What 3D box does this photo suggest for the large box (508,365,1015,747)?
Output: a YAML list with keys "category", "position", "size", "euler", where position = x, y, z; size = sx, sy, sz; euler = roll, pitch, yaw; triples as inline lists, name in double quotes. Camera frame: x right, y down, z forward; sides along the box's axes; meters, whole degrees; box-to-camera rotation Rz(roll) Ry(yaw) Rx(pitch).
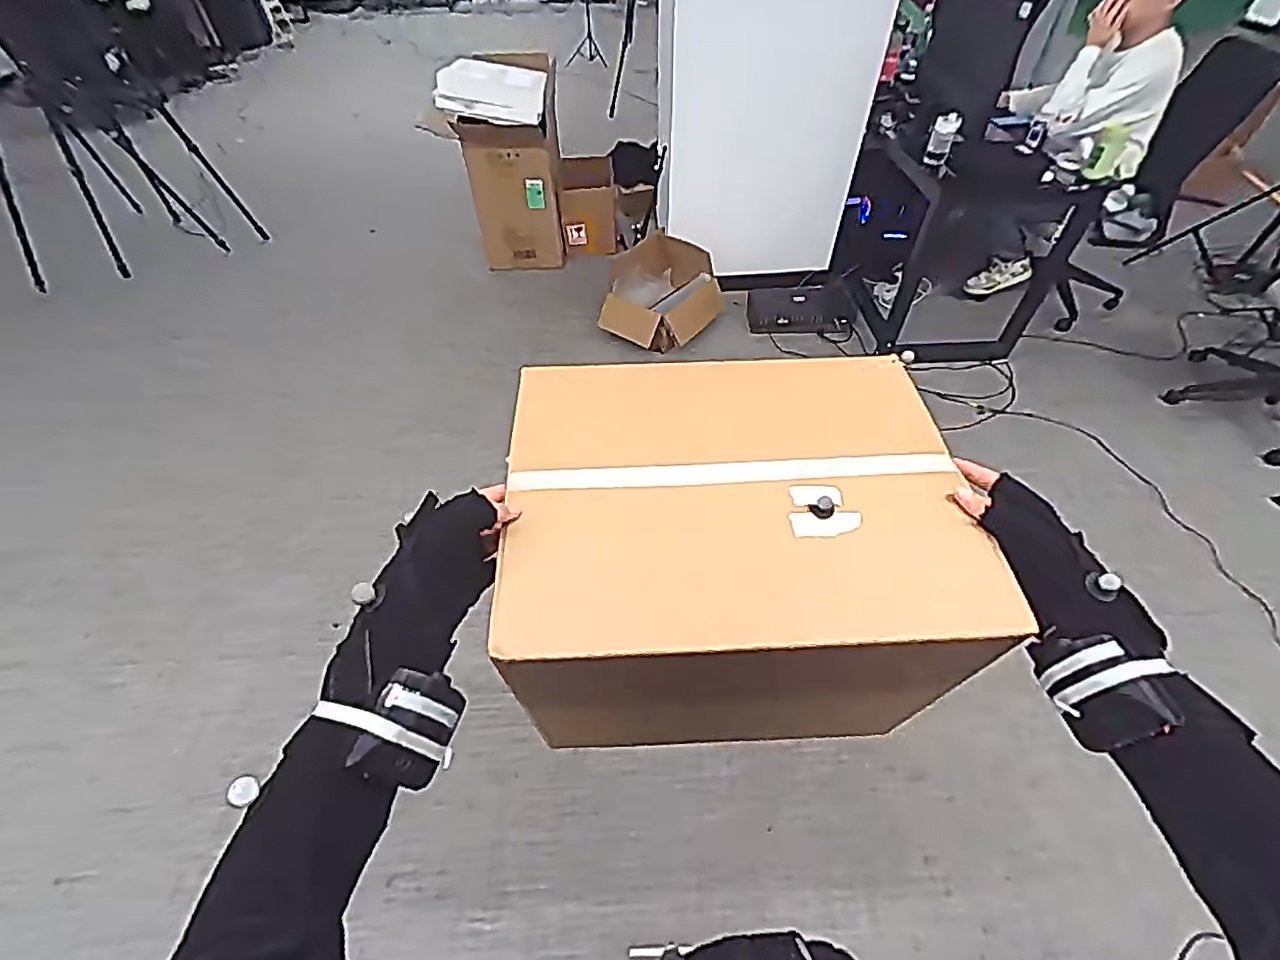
- category: "large box"
  position: [0.085, 0.094, 0.618]
  size: [0.408, 0.320, 0.320]
  euler: [-3, 53, -2]
